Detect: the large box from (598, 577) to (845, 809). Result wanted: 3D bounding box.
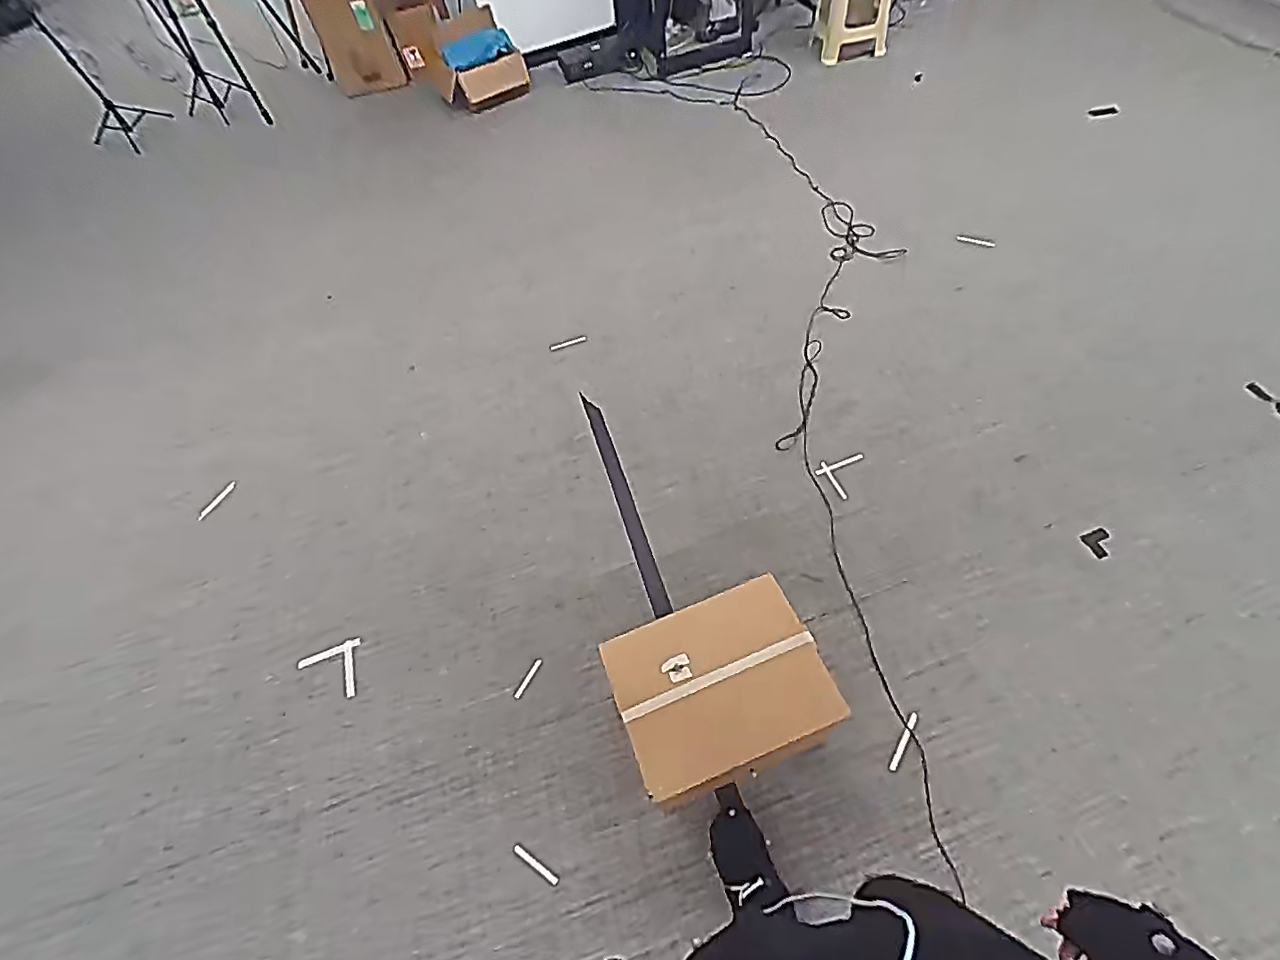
[{"bbox_3d":[0.169,0.473,1.185,0.408,0.320,0.320,-22,56,-4],"label":"large box"}]
